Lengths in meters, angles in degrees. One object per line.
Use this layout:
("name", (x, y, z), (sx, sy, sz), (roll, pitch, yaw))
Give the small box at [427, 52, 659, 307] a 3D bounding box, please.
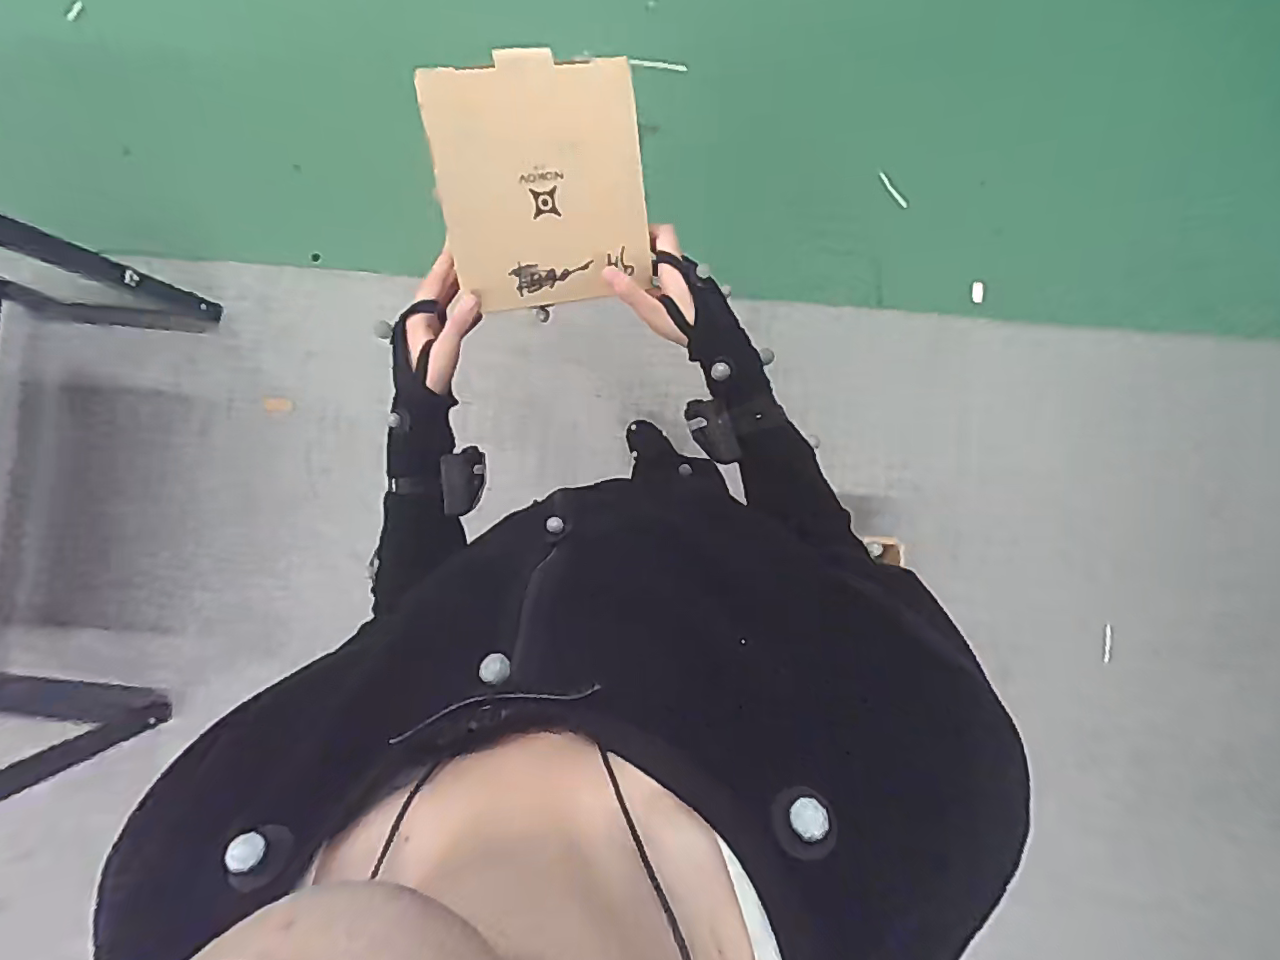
("small box", (-0.087, -0.265, 0.515), (0.168, 0.176, 0.179), (-10, 109, -7))
